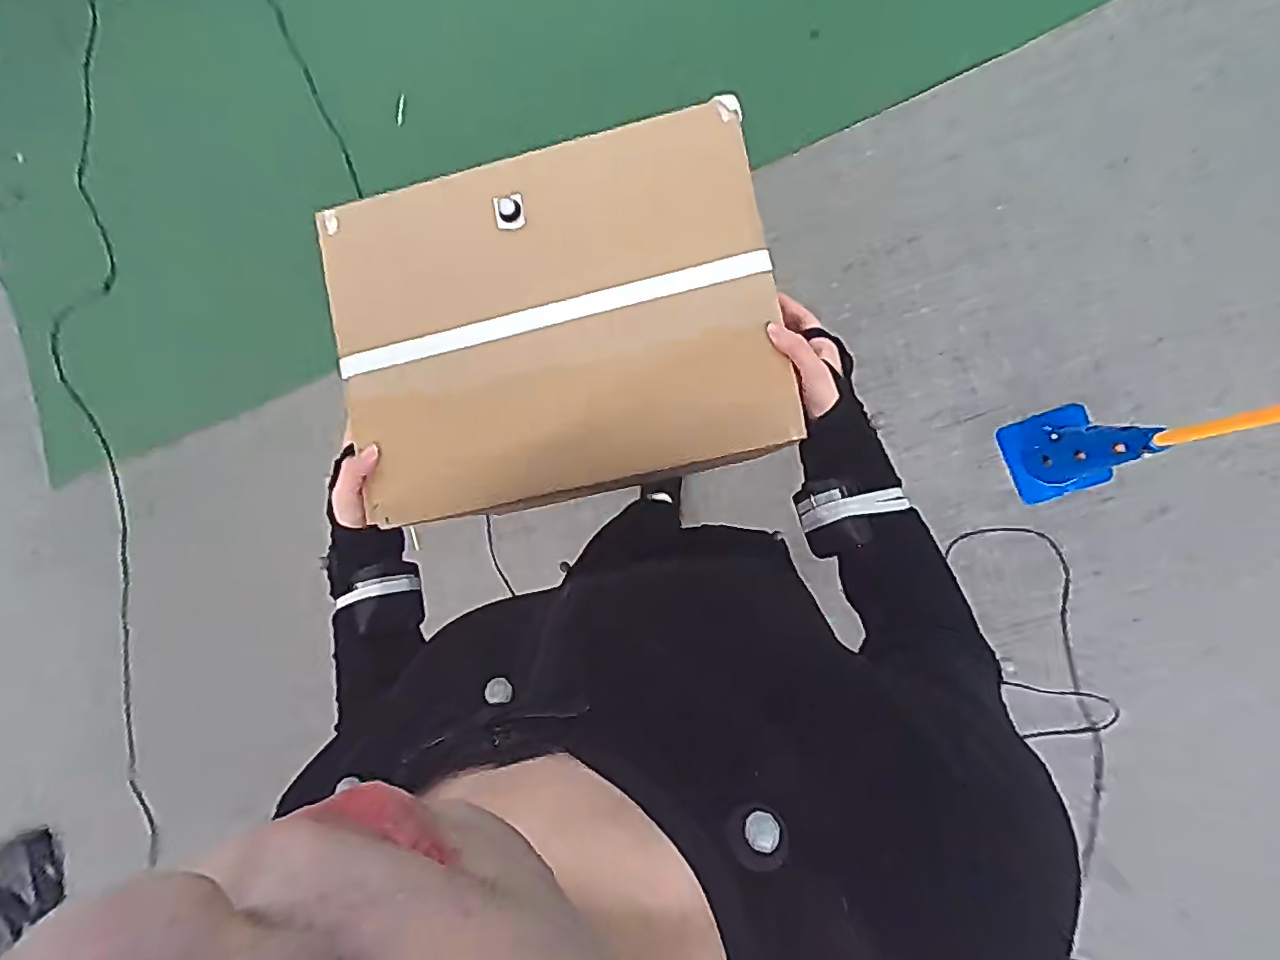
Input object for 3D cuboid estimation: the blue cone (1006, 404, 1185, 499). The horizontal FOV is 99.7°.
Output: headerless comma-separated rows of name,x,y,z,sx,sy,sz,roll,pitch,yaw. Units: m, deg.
blue cone,0.956,-0.076,1.116,0.193,0.380,0.192,-23,84,9
